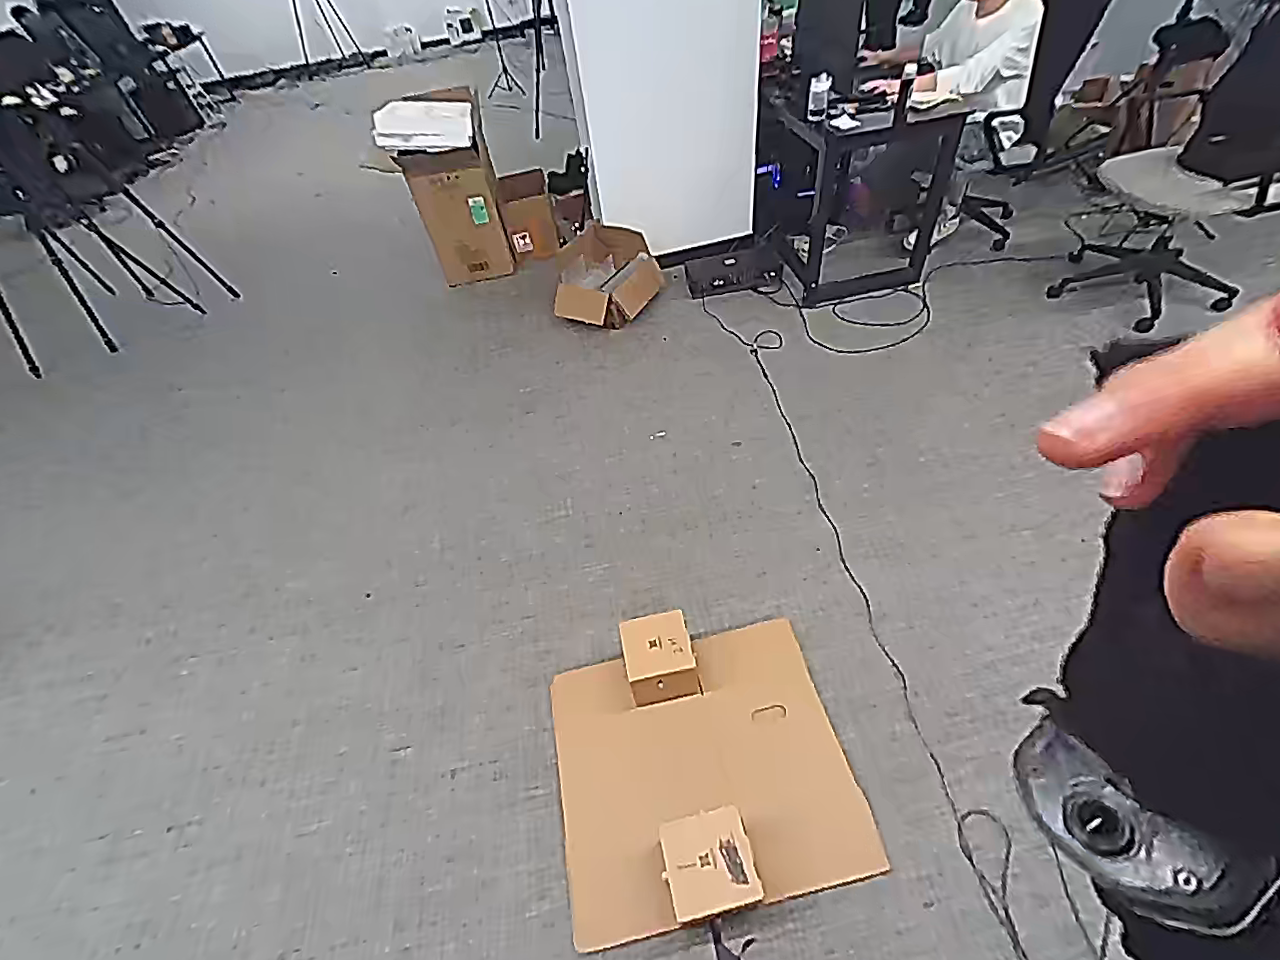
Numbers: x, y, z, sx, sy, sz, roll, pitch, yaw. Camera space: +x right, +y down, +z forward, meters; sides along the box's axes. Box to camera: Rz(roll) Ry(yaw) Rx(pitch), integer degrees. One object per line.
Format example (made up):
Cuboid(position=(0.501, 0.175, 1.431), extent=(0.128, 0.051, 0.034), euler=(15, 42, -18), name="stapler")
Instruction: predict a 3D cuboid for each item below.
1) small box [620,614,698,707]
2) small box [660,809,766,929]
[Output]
Cuboid(position=(0.052, 0.486, 1.443), extent=(0.179, 0.176, 0.168), euler=(-11, 48, -2), name="small box")
Cuboid(position=(0.148, 0.816, 1.134), extent=(0.179, 0.176, 0.168), euler=(-14, 48, -3), name="small box")
